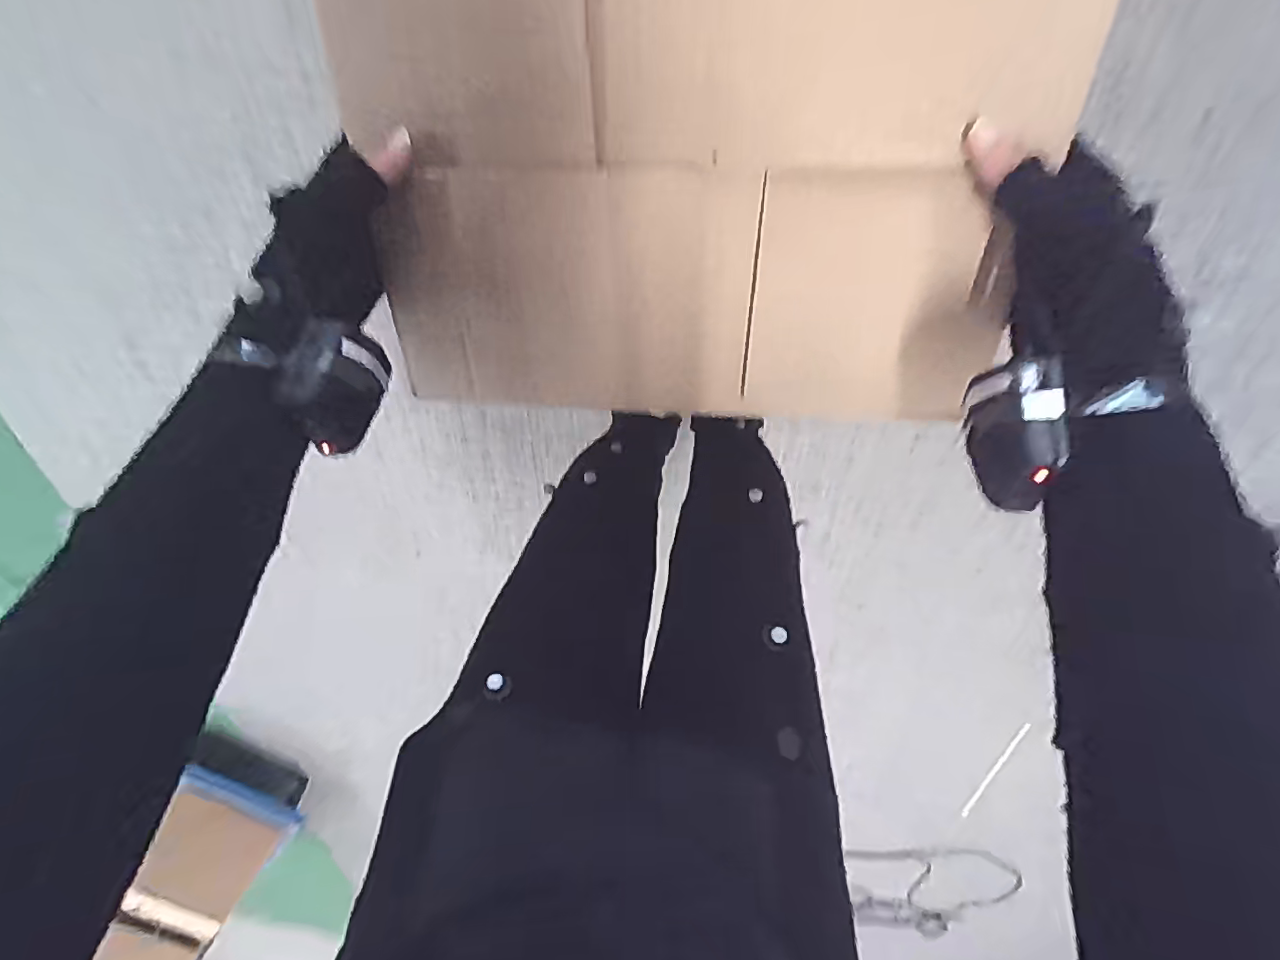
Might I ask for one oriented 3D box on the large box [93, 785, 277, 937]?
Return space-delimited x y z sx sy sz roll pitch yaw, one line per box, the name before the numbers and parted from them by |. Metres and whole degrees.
large box | -1.637 1.390 1.969 0.408 0.320 0.320 37 125 -13
